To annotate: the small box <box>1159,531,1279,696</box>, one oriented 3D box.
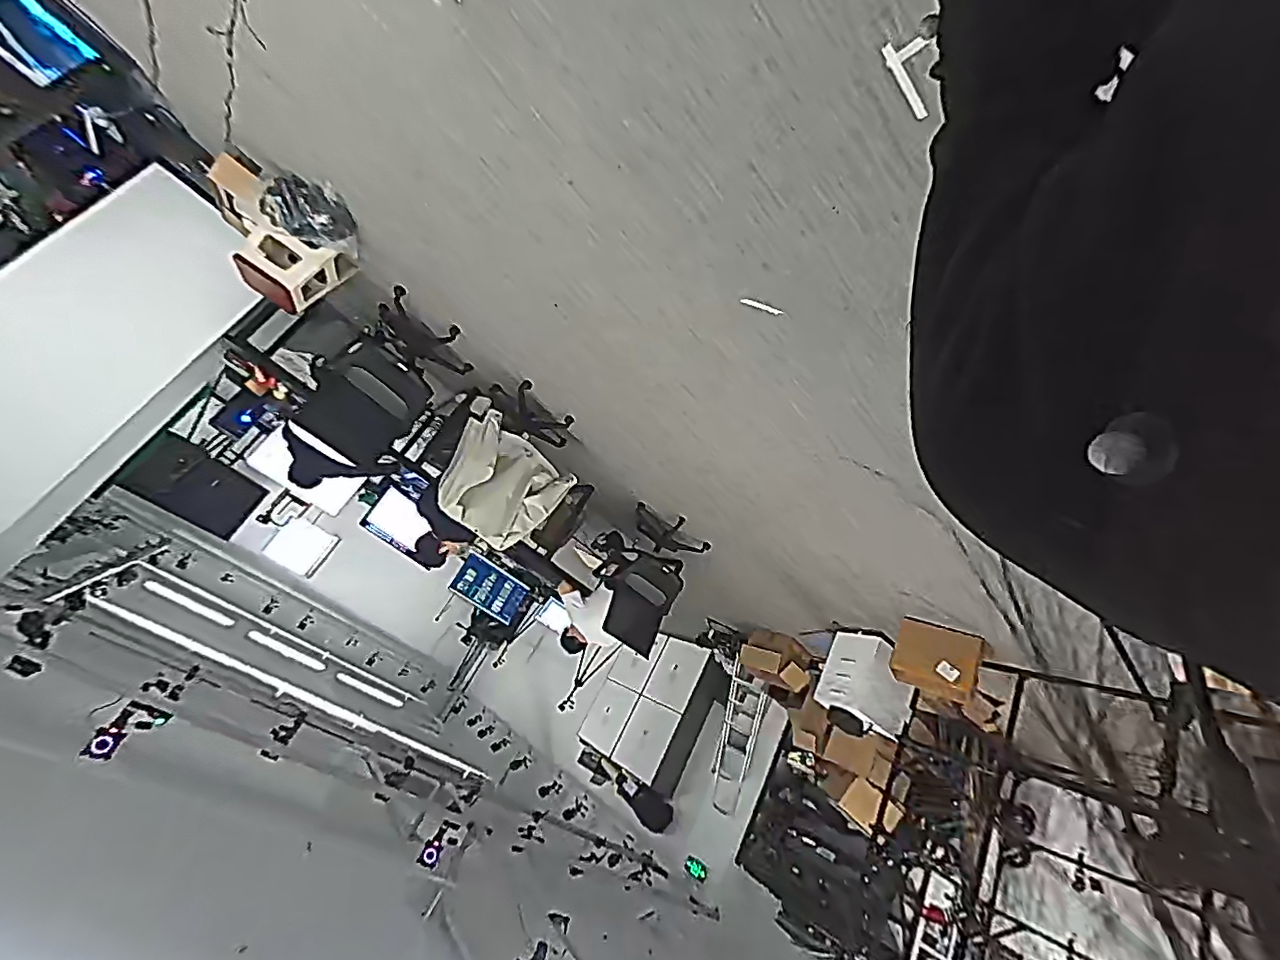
[{"bbox_3d":[0.871,0.188,0.772,0.179,0.176,0.168,44,155,-29],"label":"small box"}]
